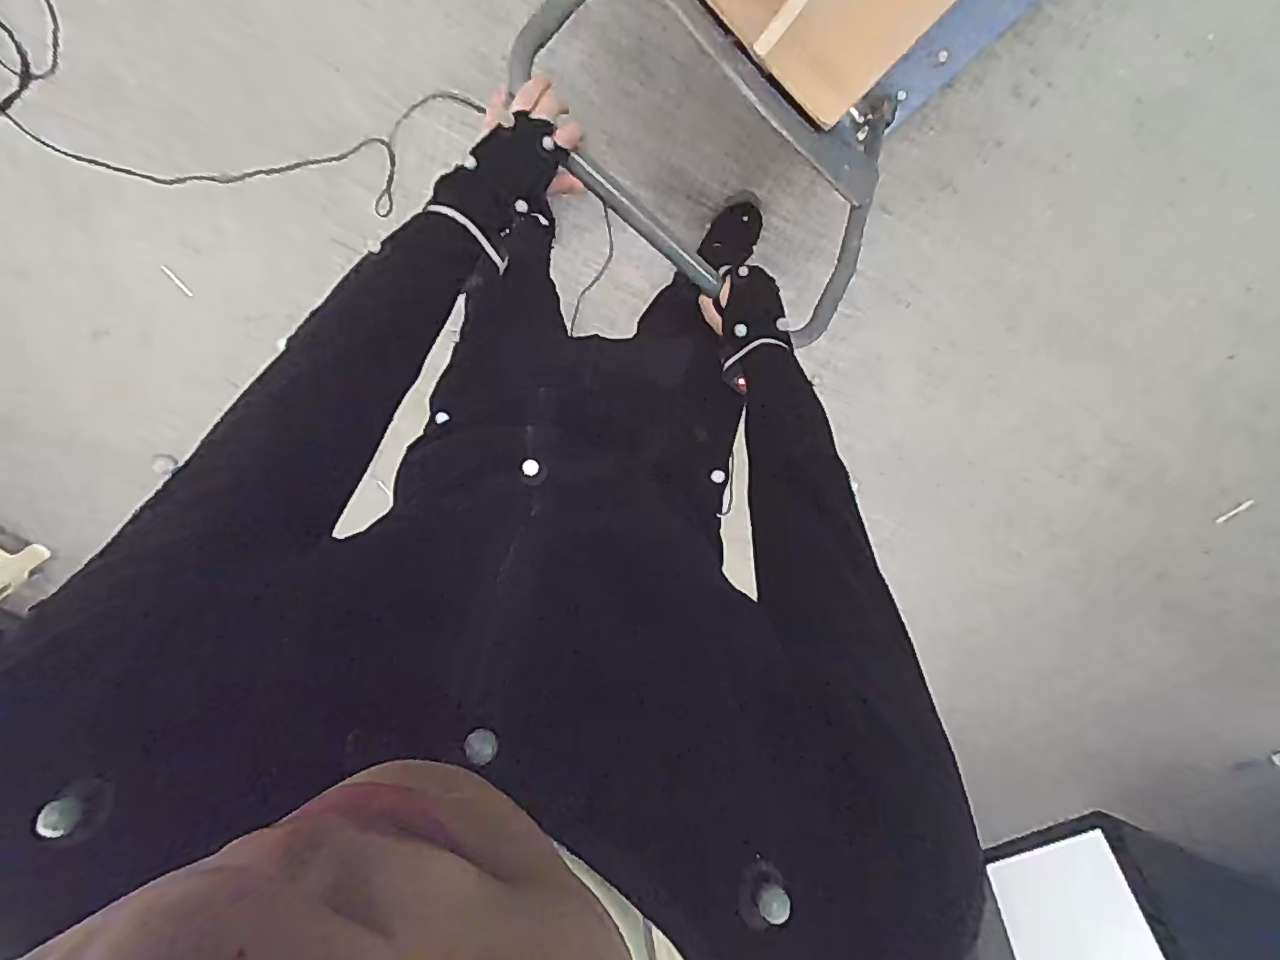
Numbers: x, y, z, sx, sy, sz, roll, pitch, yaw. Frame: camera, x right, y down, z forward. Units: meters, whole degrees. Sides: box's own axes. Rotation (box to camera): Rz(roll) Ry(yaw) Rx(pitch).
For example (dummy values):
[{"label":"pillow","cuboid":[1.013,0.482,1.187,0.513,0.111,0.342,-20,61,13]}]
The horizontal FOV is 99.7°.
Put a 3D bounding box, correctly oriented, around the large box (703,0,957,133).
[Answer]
[{"label":"large box","cuboid":[0.328,-0.805,0.741,0.320,0.320,0.408,35,142,-19]}]
